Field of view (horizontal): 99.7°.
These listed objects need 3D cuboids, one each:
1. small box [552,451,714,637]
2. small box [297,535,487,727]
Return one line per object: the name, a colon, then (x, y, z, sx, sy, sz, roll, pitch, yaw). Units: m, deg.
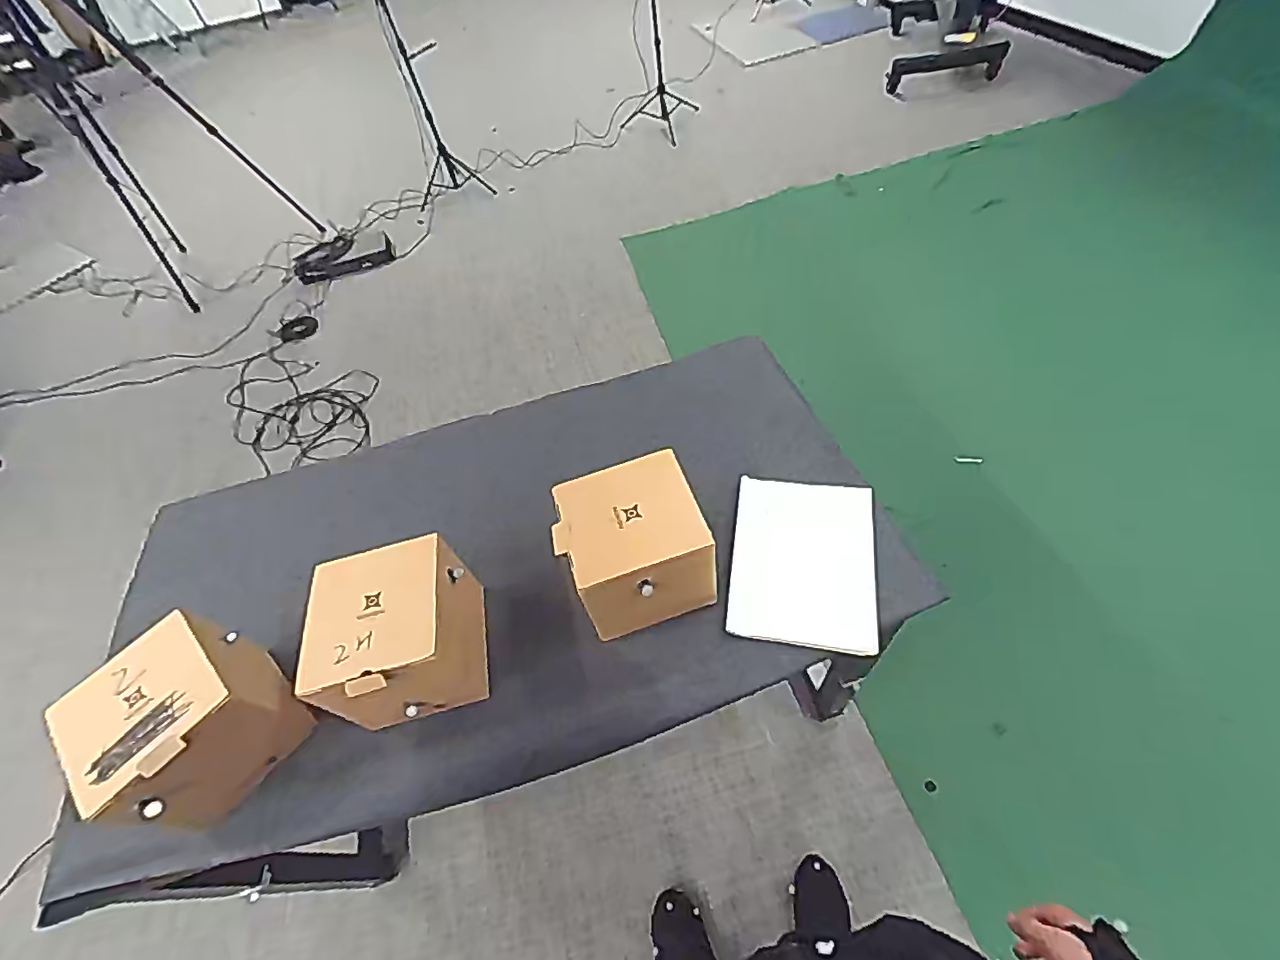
small box: (-0.005, 0.093, 0.753, 0.179, 0.176, 0.168, -19, 52, -3)
small box: (-0.315, 0.205, 0.726, 0.168, 0.176, 0.179, -16, 52, -1)
